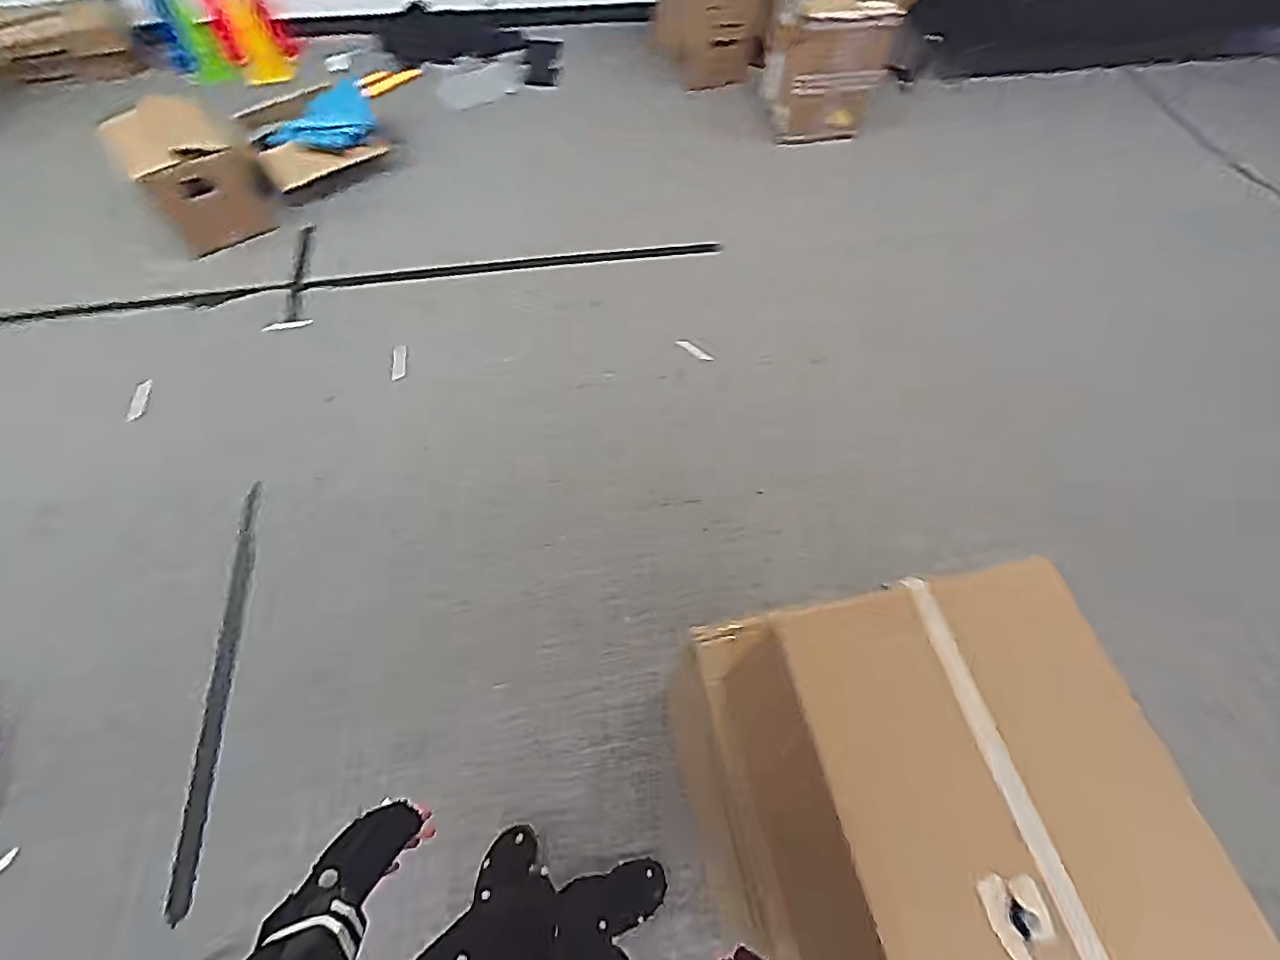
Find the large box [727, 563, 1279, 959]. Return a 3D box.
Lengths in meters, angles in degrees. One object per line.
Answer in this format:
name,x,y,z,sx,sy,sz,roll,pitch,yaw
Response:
large box,0.323,0.353,0.600,0.320,0.320,0.408,-10,62,-7
